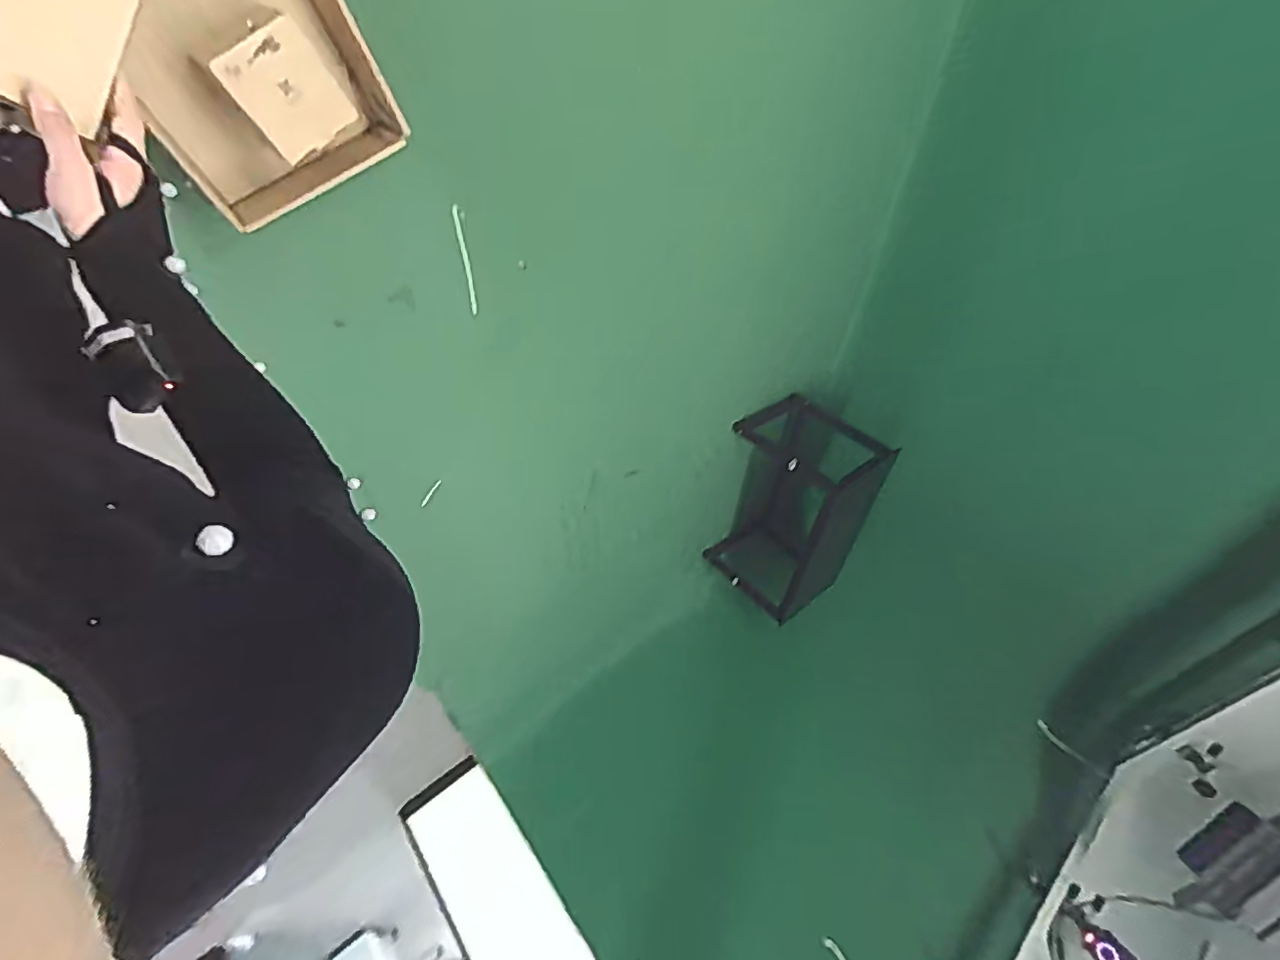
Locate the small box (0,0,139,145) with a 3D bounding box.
[{"bbox_3d":[-0.529,-0.391,0.407,0.179,0.176,0.168,16,96,-59],"label":"small box"}]
